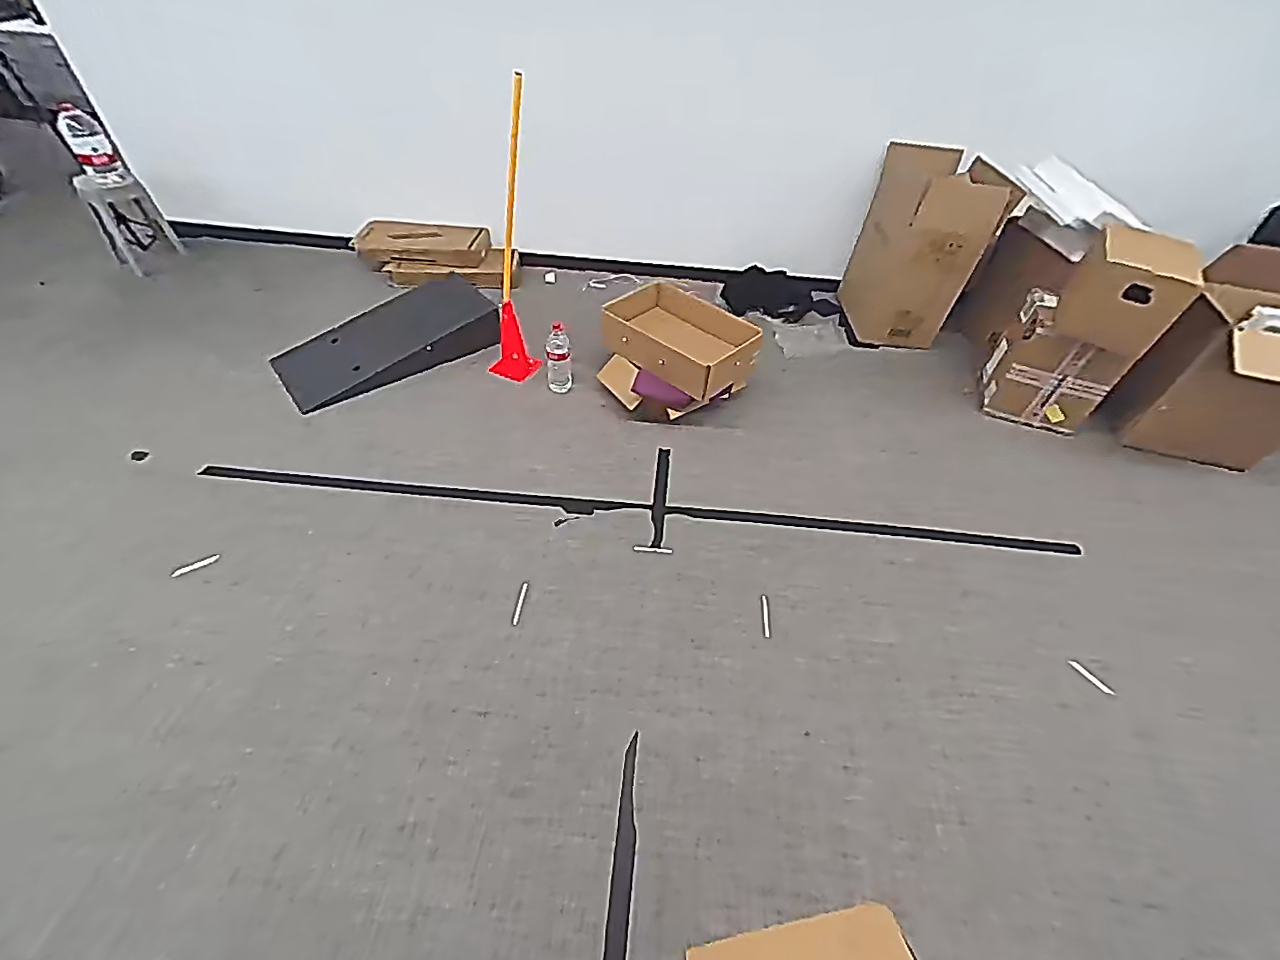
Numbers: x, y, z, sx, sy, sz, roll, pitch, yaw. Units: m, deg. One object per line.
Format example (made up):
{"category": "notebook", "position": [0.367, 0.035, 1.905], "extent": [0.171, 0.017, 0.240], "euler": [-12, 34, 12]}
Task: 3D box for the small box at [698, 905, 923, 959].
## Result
{"category": "small box", "position": [0.151, 0.468, 0.390], "extent": [0.179, 0.176, 0.168], "euler": [-13, 6, 0]}
